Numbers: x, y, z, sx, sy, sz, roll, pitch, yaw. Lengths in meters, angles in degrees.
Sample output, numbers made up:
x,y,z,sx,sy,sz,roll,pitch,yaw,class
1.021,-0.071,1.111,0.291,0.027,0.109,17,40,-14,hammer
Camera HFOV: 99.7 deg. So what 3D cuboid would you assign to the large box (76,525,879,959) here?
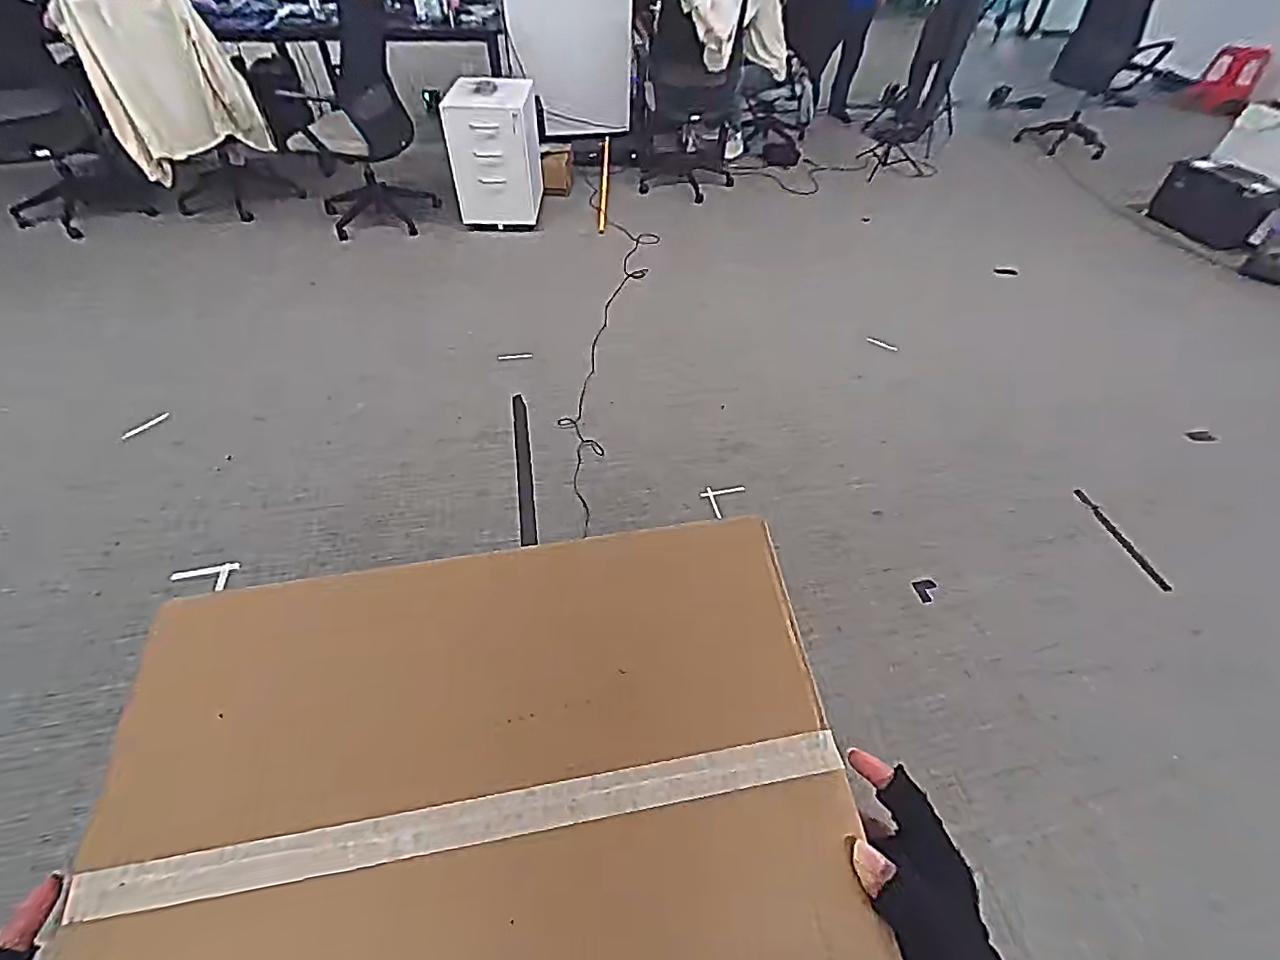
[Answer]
x,y,z,sx,sy,sz,roll,pitch,yaw,class
-0.091,0.266,0.433,0.408,0.320,0.320,-8,58,-6,large box
